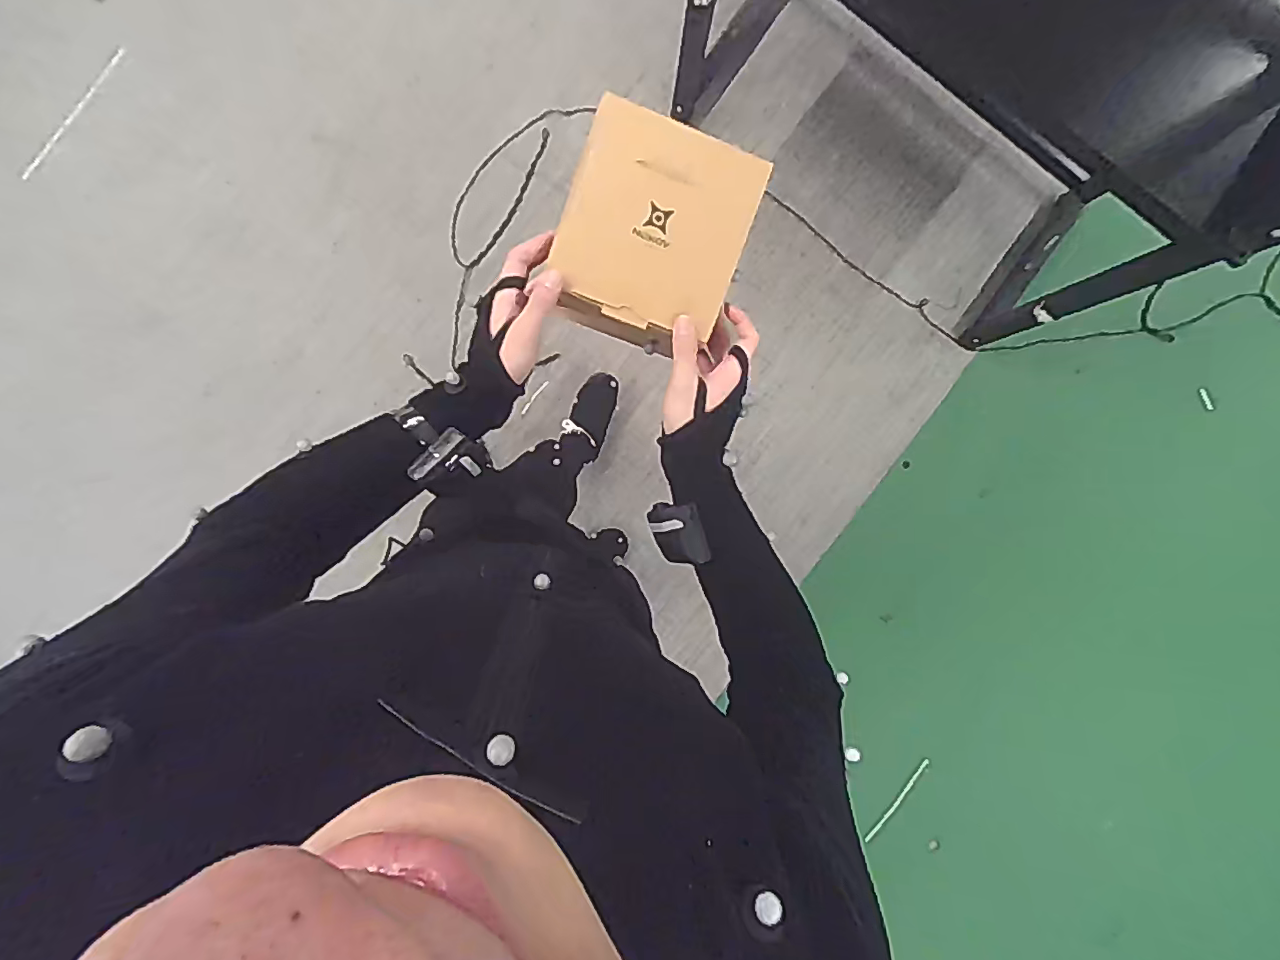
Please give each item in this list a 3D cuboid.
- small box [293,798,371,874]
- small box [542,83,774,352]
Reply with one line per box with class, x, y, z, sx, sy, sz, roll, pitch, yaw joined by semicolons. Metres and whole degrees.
small box;-0.858;1.005;1.448;0.168;0.176;0.179;39;89;-2
small box;0.011;-0.246;0.562;0.168;0.176;0.179;20;95;-7
